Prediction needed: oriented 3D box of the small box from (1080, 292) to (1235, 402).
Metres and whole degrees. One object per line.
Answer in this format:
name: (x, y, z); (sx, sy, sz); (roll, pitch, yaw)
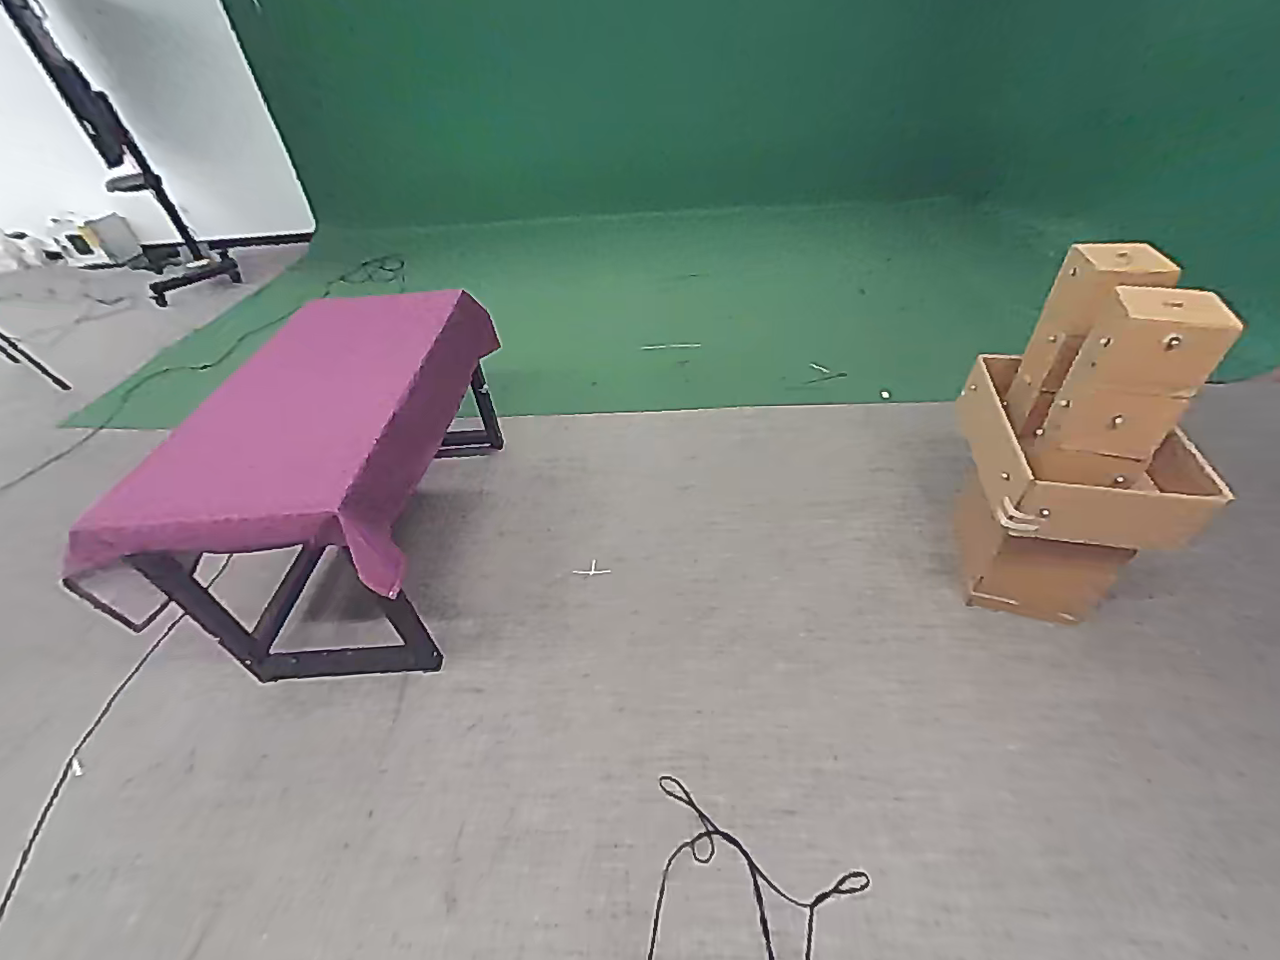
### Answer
small box: (1.089, -0.285, 1.162); (0.179, 0.176, 0.168); (13, 45, 18)

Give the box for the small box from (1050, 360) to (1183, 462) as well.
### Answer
small box: (1.099, -0.162, 1.270); (0.179, 0.176, 0.168); (10, 44, 18)

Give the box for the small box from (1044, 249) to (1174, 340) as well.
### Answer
small box: (1.162, -0.465, 1.360); (0.168, 0.176, 0.179); (5, 44, 12)

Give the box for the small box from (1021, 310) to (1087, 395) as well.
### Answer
small box: (1.176, -0.344, 1.471); (0.168, 0.176, 0.179); (6, 44, 12)
